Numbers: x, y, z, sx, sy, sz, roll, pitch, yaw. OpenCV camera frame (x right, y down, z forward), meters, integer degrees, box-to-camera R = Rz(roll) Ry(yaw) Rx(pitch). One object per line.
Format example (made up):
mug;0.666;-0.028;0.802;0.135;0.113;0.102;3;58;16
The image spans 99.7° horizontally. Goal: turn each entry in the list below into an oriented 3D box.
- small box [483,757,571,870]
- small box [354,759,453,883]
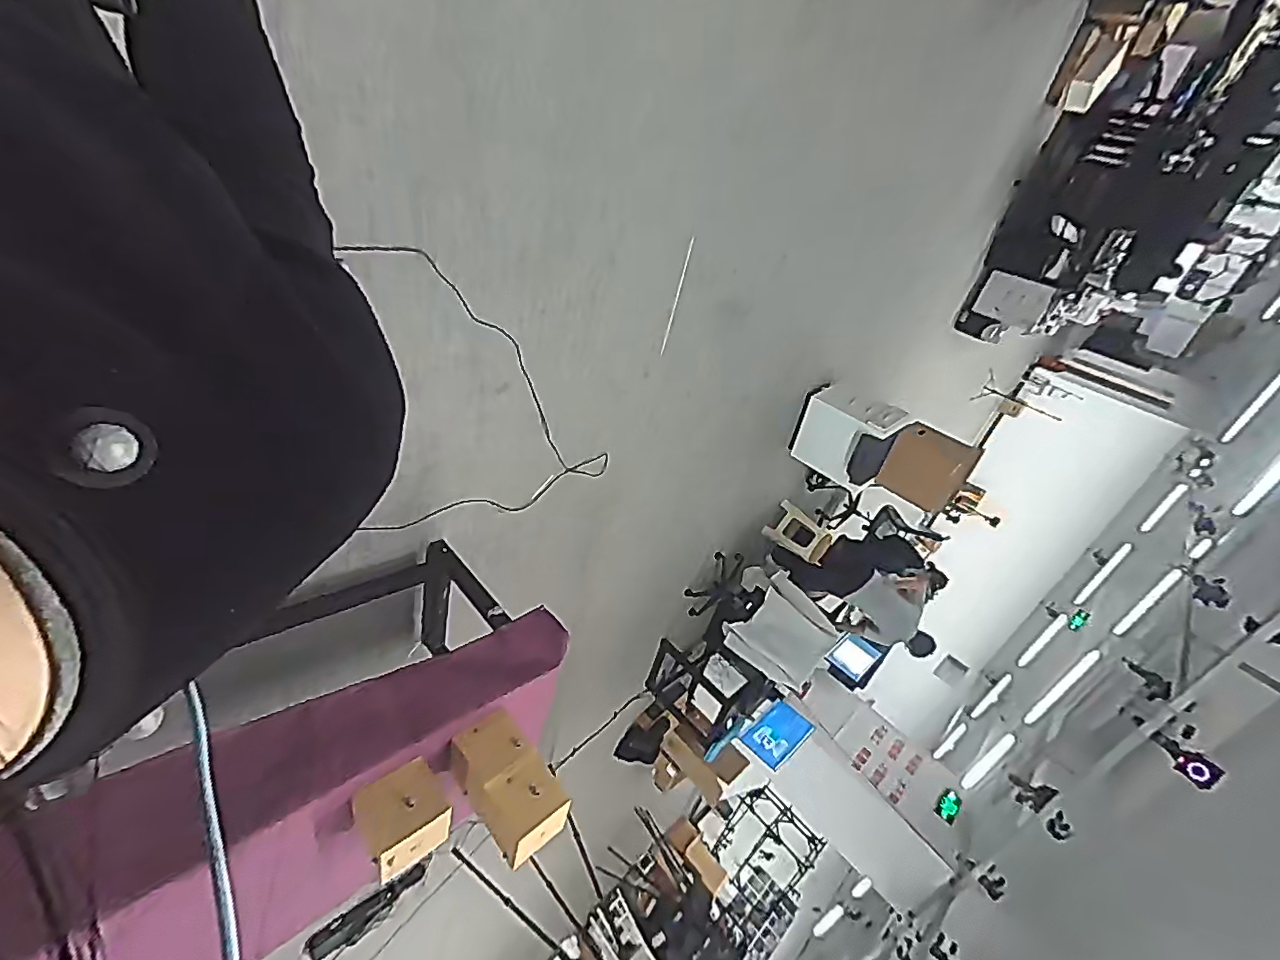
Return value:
small box;-0.310;0.889;1.461;0.168;0.176;0.179;-20;138;-40
small box;-0.600;0.852;1.368;0.179;0.176;0.168;-17;135;-42
